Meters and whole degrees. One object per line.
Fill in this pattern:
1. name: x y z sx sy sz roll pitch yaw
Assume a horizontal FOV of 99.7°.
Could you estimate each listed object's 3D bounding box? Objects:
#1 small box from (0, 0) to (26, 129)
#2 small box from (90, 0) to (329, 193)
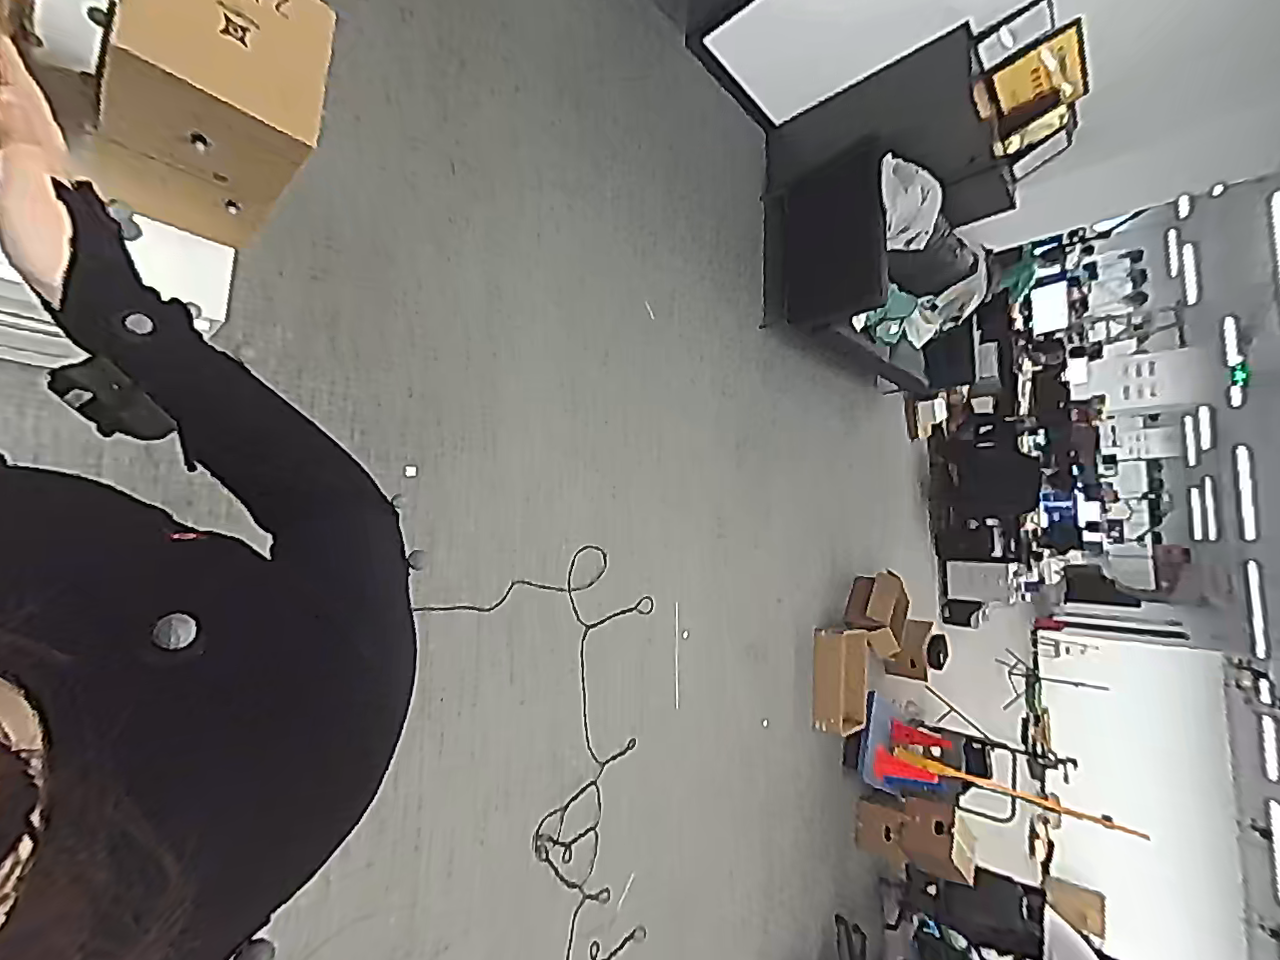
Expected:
1. small box: -0.747 -0.493 0.531 0.179 0.176 0.168 10 80 -49
2. small box: -0.470 -0.457 0.592 0.168 0.176 0.179 12 78 -48
